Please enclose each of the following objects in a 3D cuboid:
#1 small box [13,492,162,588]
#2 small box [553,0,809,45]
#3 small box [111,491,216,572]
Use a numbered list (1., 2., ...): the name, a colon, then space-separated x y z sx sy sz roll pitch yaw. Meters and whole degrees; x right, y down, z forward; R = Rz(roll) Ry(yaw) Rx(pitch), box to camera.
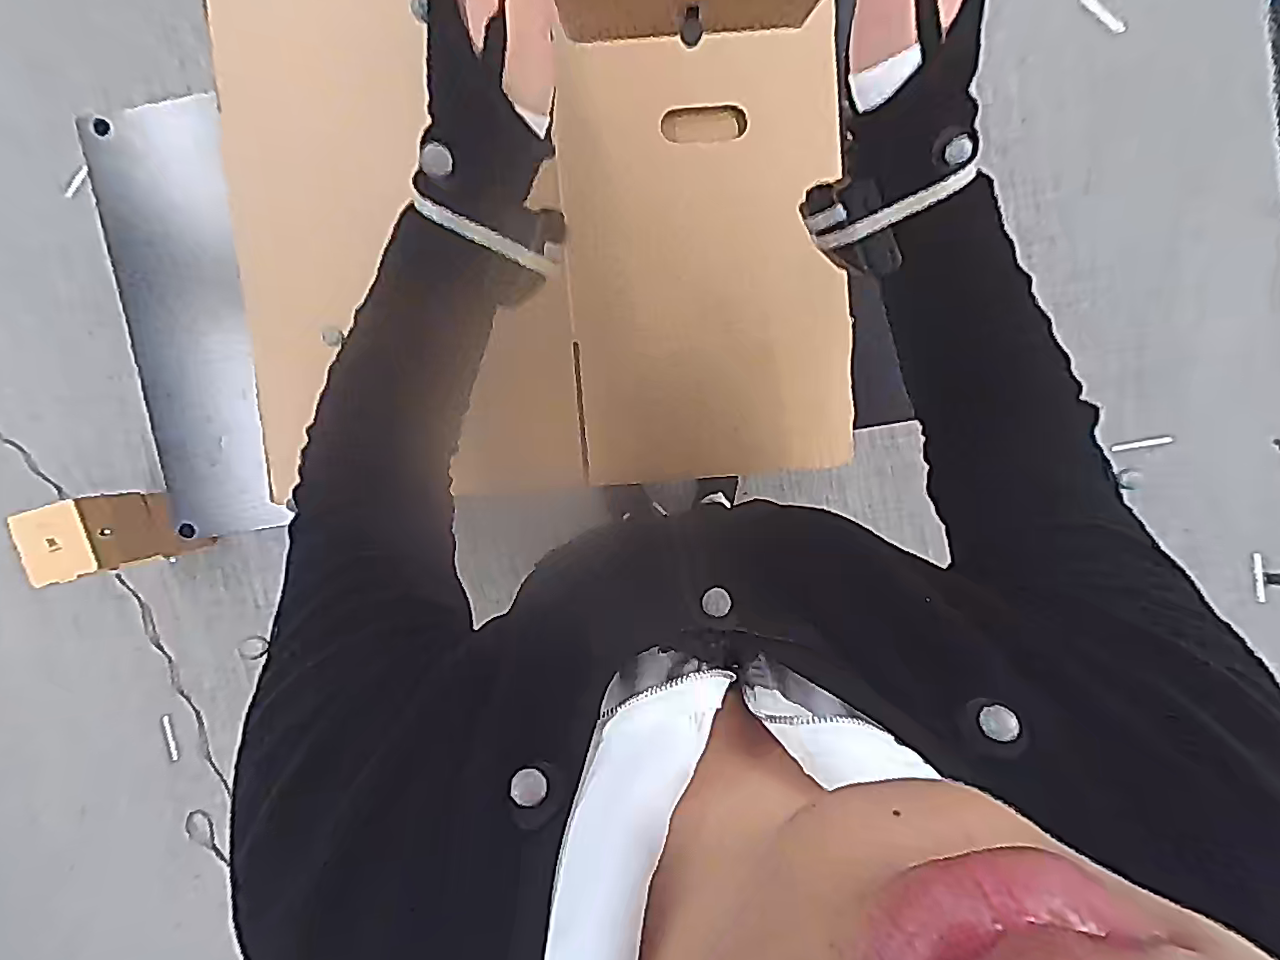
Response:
1. small box: -1.323 0.140 1.311 0.168 0.176 0.179 -16 93 3
2. small box: 0.029 -0.369 0.294 0.179 0.176 0.168 -4 111 0
3. small box: -1.316 0.132 1.474 0.168 0.176 0.179 -14 95 3
